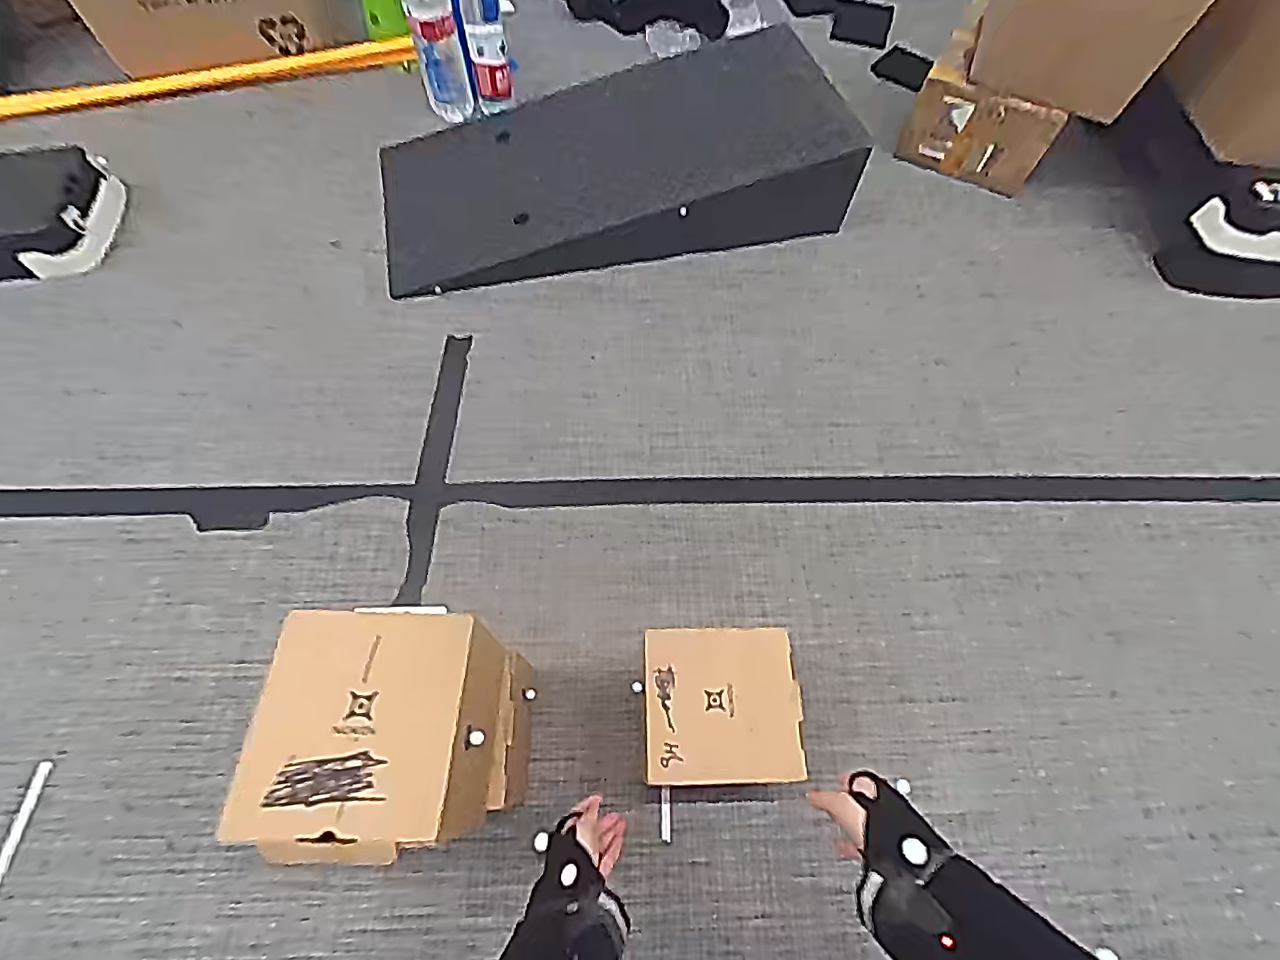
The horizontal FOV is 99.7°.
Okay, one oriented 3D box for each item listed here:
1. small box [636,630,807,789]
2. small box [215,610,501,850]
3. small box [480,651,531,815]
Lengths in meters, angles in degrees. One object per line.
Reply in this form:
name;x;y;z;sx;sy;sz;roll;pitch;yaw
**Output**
small box;0.088;0.289;0.677;0.179;0.176;0.168;1;62;-3
small box;-0.235;0.232;0.509;0.168;0.176;0.179;2;61;-2
small box;-0.232;0.305;0.656;0.179;0.176;0.168;-1;63;-3
